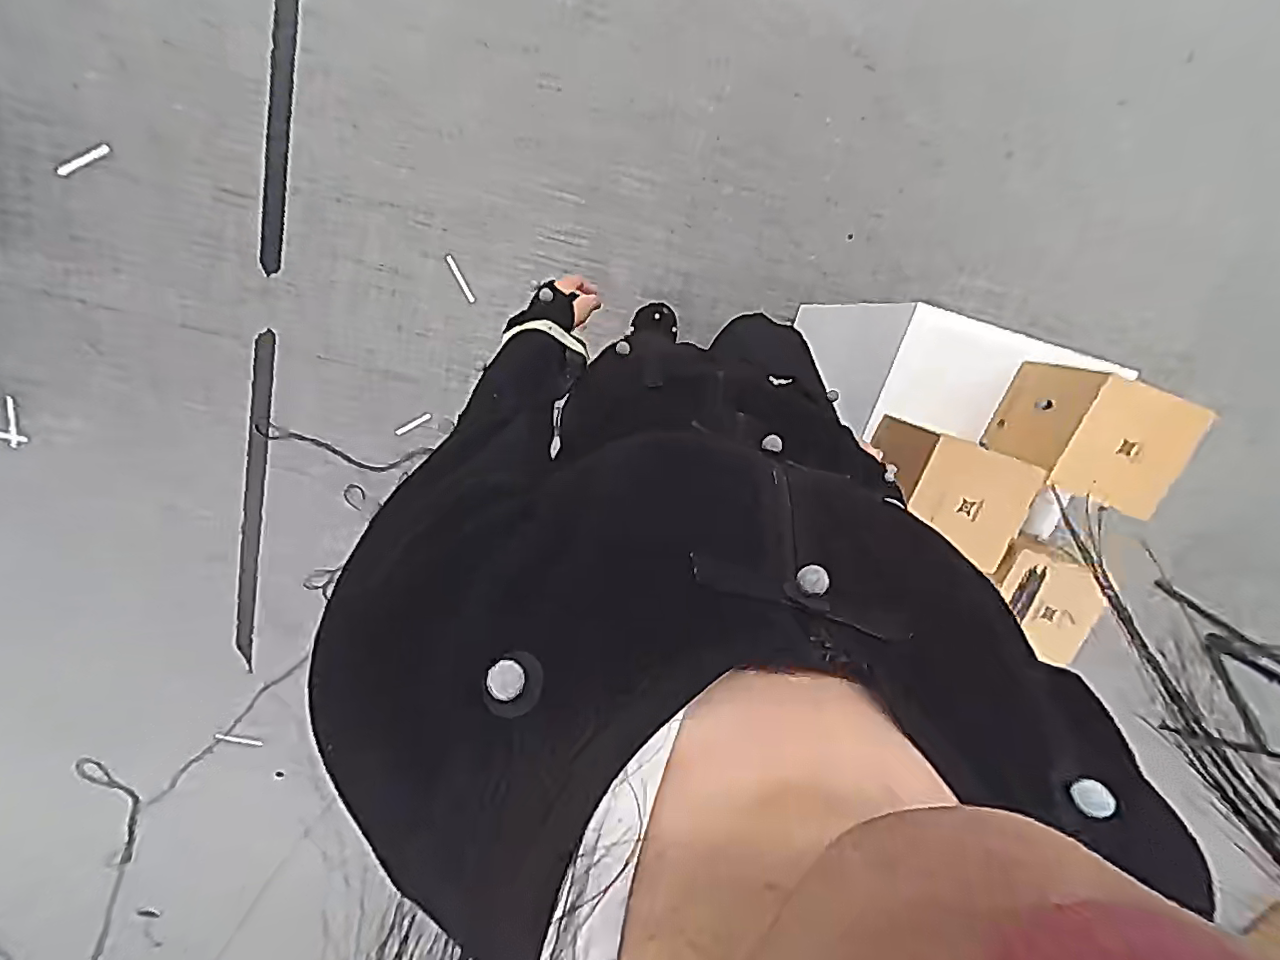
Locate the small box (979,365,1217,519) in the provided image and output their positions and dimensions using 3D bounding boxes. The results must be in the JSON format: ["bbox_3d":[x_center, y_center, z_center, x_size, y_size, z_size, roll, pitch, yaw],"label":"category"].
[{"bbox_3d":[0.661,-0.067,0.808,0.179,0.176,0.168,18,106,-8],"label":"small box"}]
